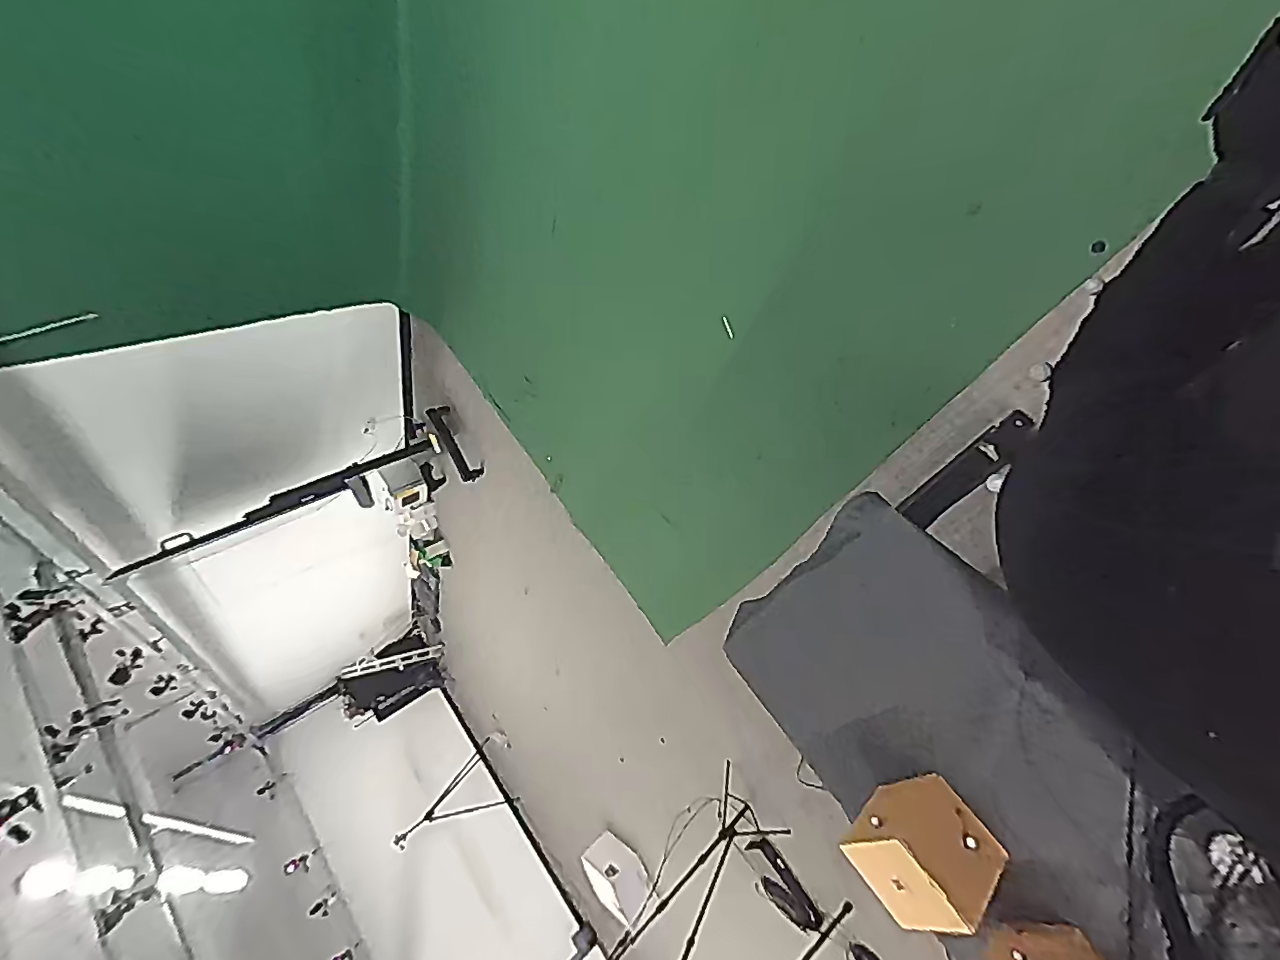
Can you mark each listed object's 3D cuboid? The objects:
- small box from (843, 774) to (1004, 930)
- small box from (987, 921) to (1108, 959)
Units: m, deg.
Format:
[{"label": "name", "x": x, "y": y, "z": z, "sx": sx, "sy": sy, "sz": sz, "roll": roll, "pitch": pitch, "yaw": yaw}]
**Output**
[{"label": "small box", "x": 0.525, "y": 0.682, "z": 1.003, "sx": 0.168, "sy": 0.176, "sz": 0.179, "roll": 50, "pitch": 142, "yaw": 18}, {"label": "small box", "x": 0.705, "y": 0.884, "z": 0.900, "sx": 0.179, "sy": 0.176, "sz": 0.168, "roll": 51, "pitch": 142, "yaw": 17}]
